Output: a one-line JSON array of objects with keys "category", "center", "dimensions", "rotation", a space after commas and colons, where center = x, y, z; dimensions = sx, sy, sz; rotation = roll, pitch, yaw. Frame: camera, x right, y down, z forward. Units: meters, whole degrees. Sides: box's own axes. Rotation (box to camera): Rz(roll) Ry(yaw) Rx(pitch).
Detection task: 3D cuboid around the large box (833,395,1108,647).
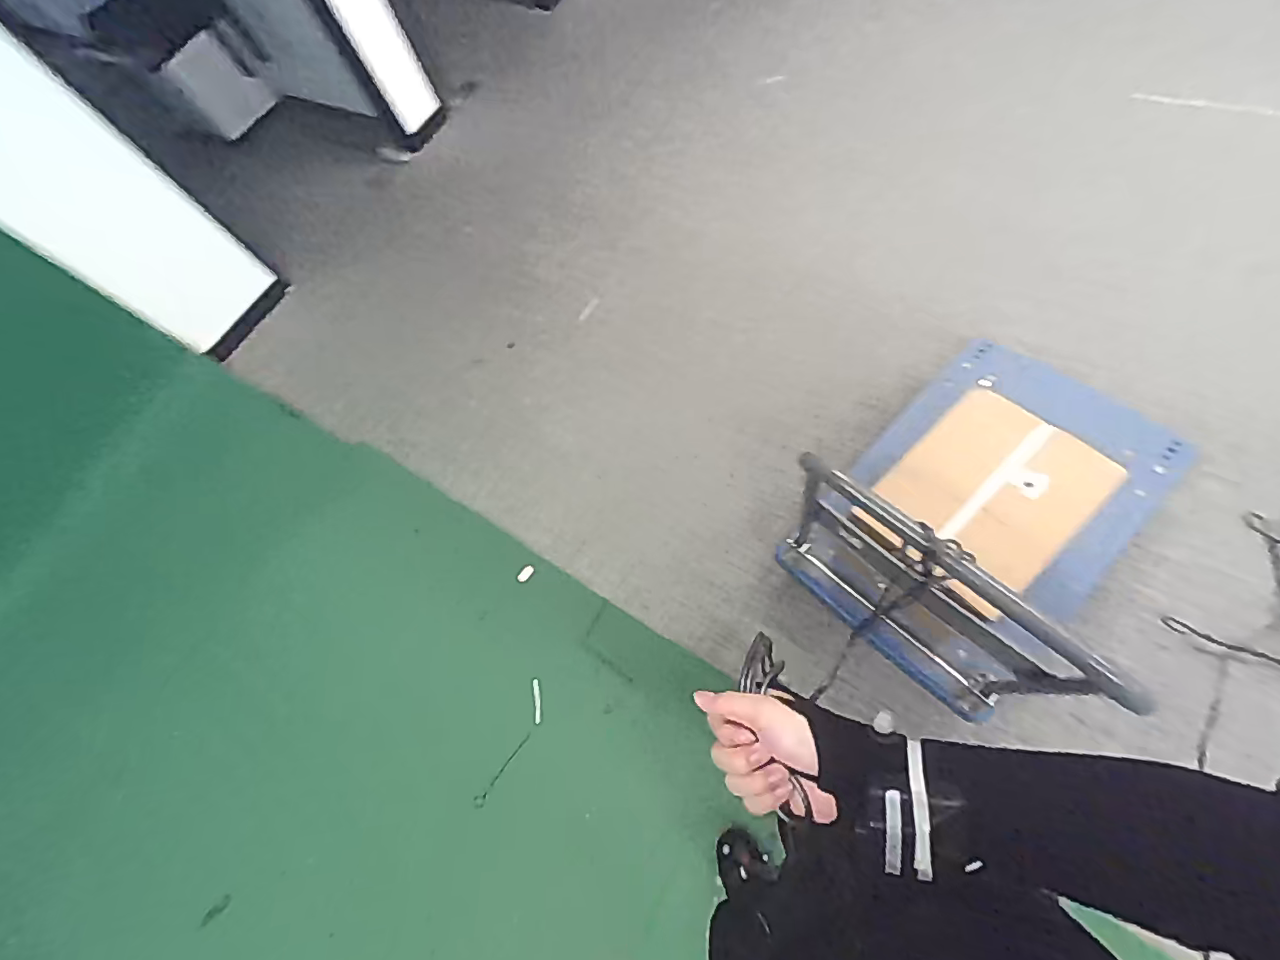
[{"category": "large box", "center": [0.696, 0.101, 1.209], "dimensions": [0.408, 0.320, 0.320], "rotation": [-42, 64, -9]}]
